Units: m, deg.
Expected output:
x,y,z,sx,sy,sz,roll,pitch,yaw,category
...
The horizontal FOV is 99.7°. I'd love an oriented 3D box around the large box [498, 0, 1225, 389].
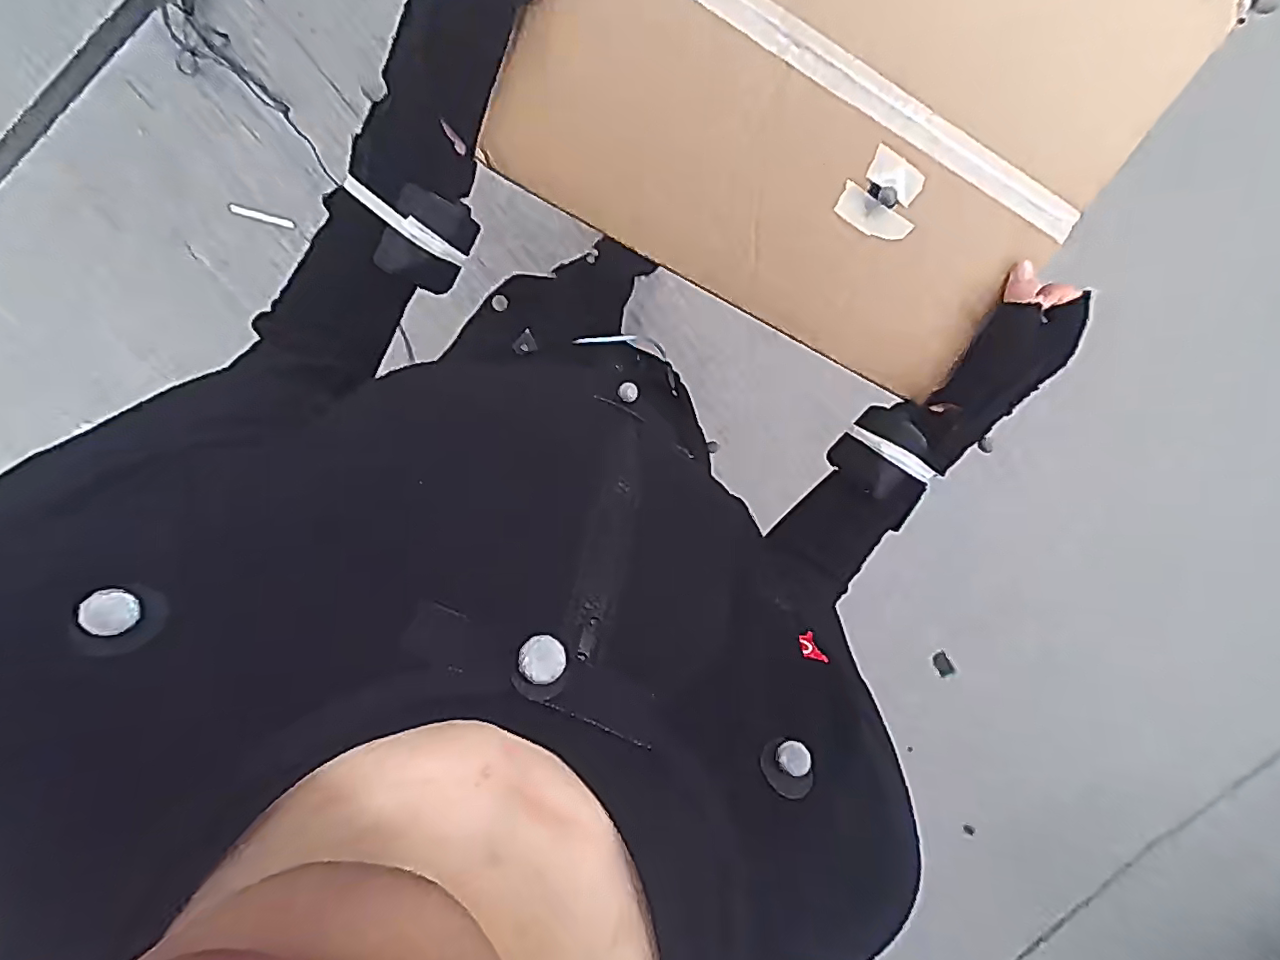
x,y,z,sx,sy,sz,roll,pitch,yaw,category
0.136,-0.344,0.500,0.408,0.320,0.320,24,116,-13,large box
